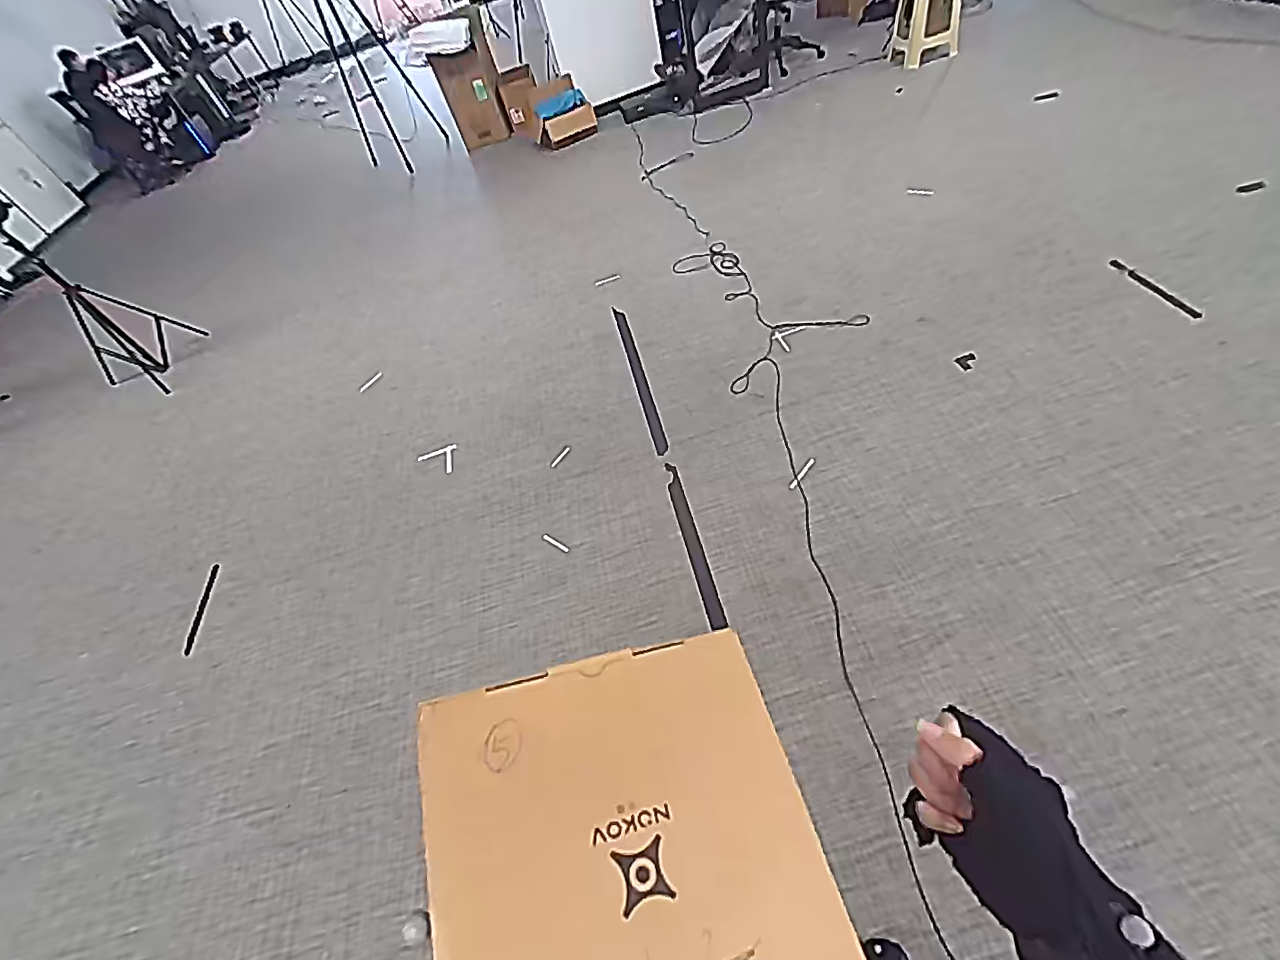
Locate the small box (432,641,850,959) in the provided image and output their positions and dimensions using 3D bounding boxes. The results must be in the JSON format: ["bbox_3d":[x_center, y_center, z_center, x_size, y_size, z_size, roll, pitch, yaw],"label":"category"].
[{"bbox_3d":[-0.019,0.217,0.304,0.168,0.176,0.179,-7,58,-19],"label":"small box"}]
